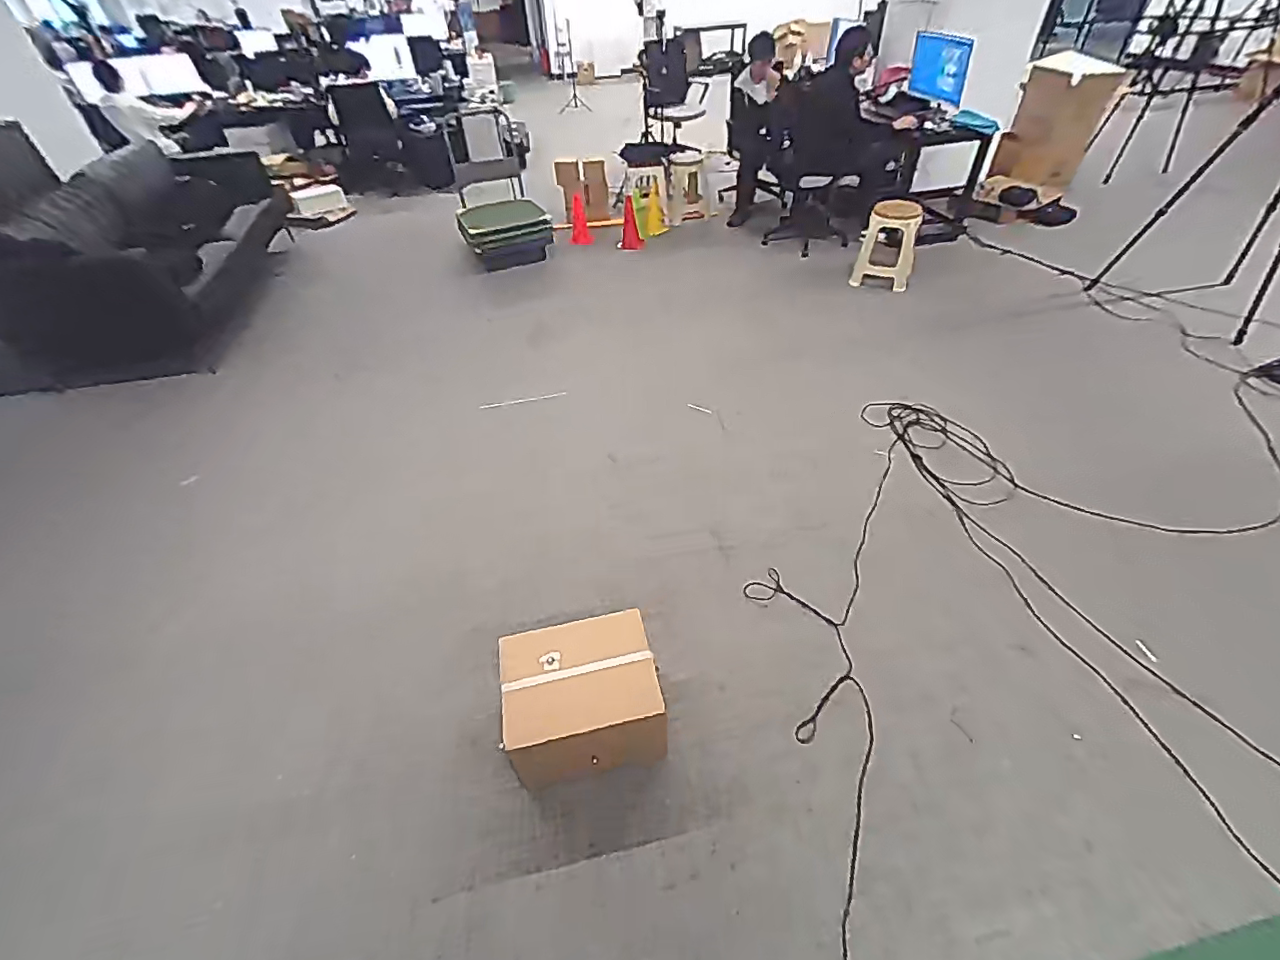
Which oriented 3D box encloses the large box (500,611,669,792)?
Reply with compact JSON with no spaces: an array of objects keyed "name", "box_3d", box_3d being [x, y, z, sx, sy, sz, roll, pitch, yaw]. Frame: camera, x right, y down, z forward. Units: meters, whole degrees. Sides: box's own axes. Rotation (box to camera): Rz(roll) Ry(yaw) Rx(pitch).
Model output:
[{"name":"large box","box_3d":[-0.152,0.626,1.534,0.408,0.320,0.320,-12,43,-7]}]
